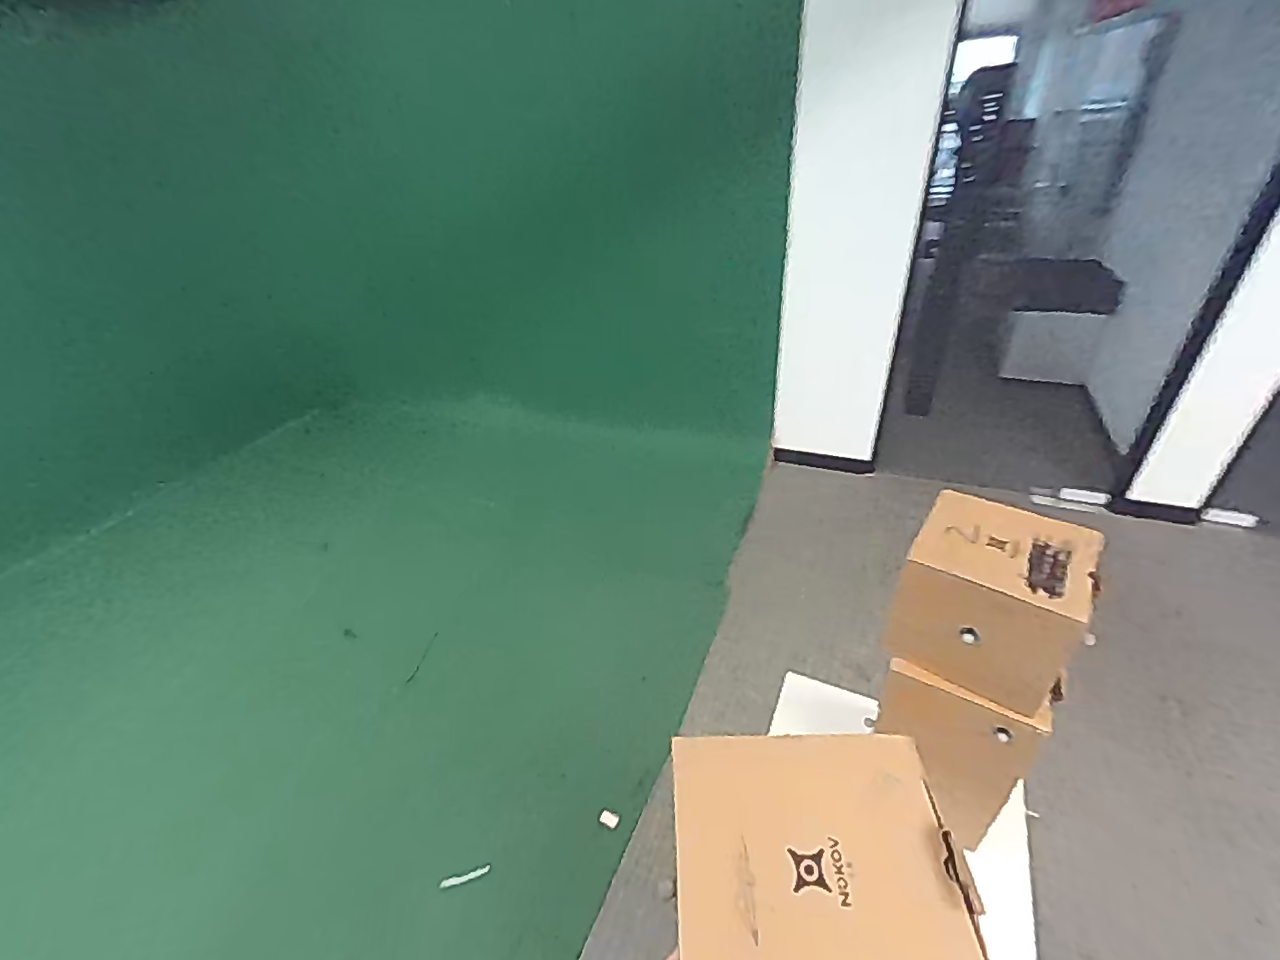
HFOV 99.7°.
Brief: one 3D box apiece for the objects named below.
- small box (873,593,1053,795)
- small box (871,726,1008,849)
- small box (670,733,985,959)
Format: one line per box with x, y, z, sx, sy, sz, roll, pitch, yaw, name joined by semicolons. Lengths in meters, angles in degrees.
0.442;0.295;0.755;0.179;0.176;0.168;17;40;29;small box
0.460;0.429;0.847;0.179;0.176;0.168;17;41;30;small box
0.113;0.302;0.393;0.179;0.176;0.168;-4;42;3;small box
